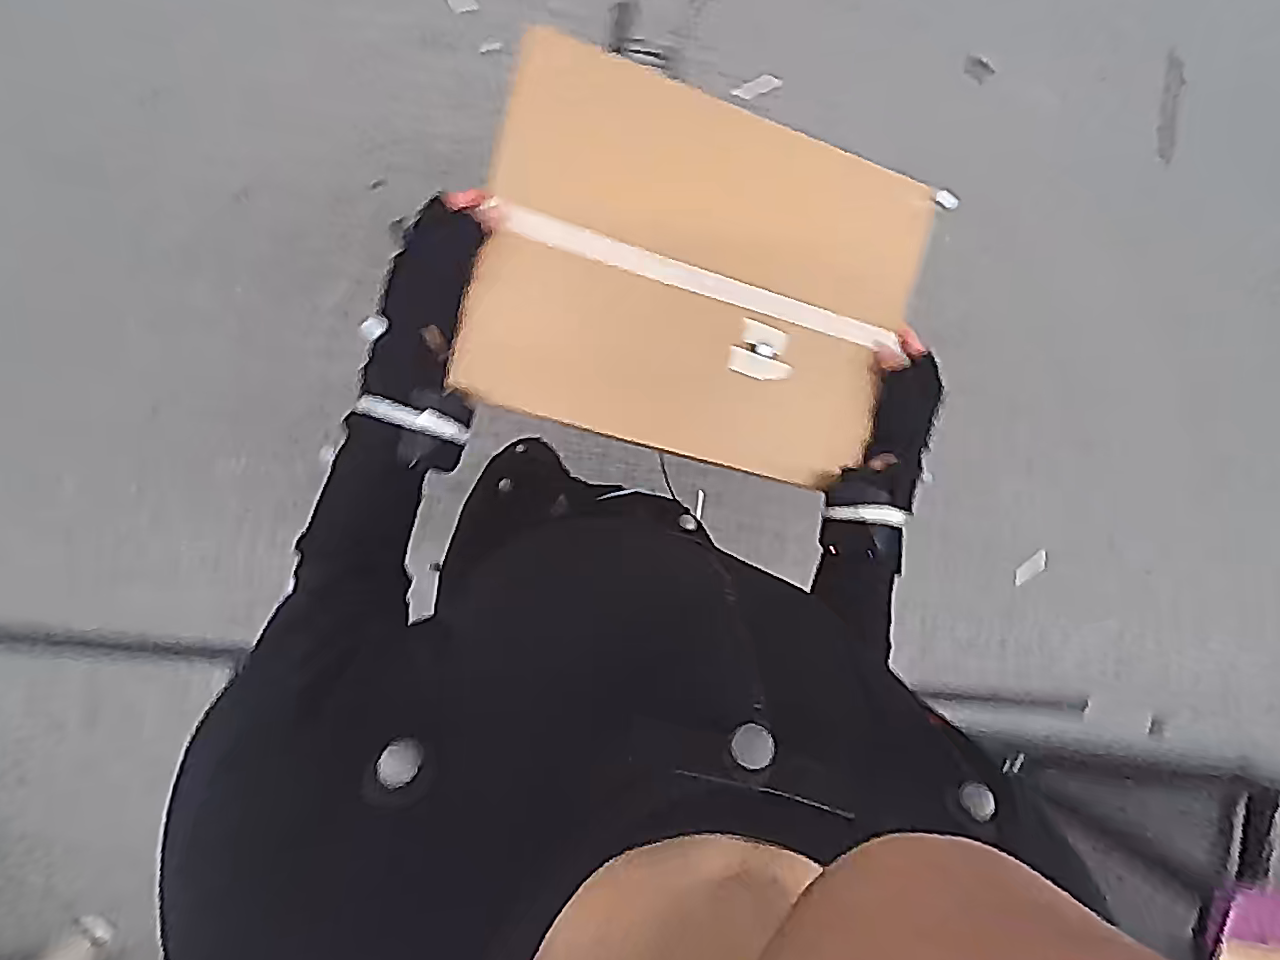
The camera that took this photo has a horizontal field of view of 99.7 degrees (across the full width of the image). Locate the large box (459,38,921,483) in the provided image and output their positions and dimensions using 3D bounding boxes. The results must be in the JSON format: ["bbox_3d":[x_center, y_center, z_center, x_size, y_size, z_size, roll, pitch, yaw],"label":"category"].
[{"bbox_3d":[0.030,-0.204,0.655,0.408,0.320,0.320,14,95,-13],"label":"large box"}]
